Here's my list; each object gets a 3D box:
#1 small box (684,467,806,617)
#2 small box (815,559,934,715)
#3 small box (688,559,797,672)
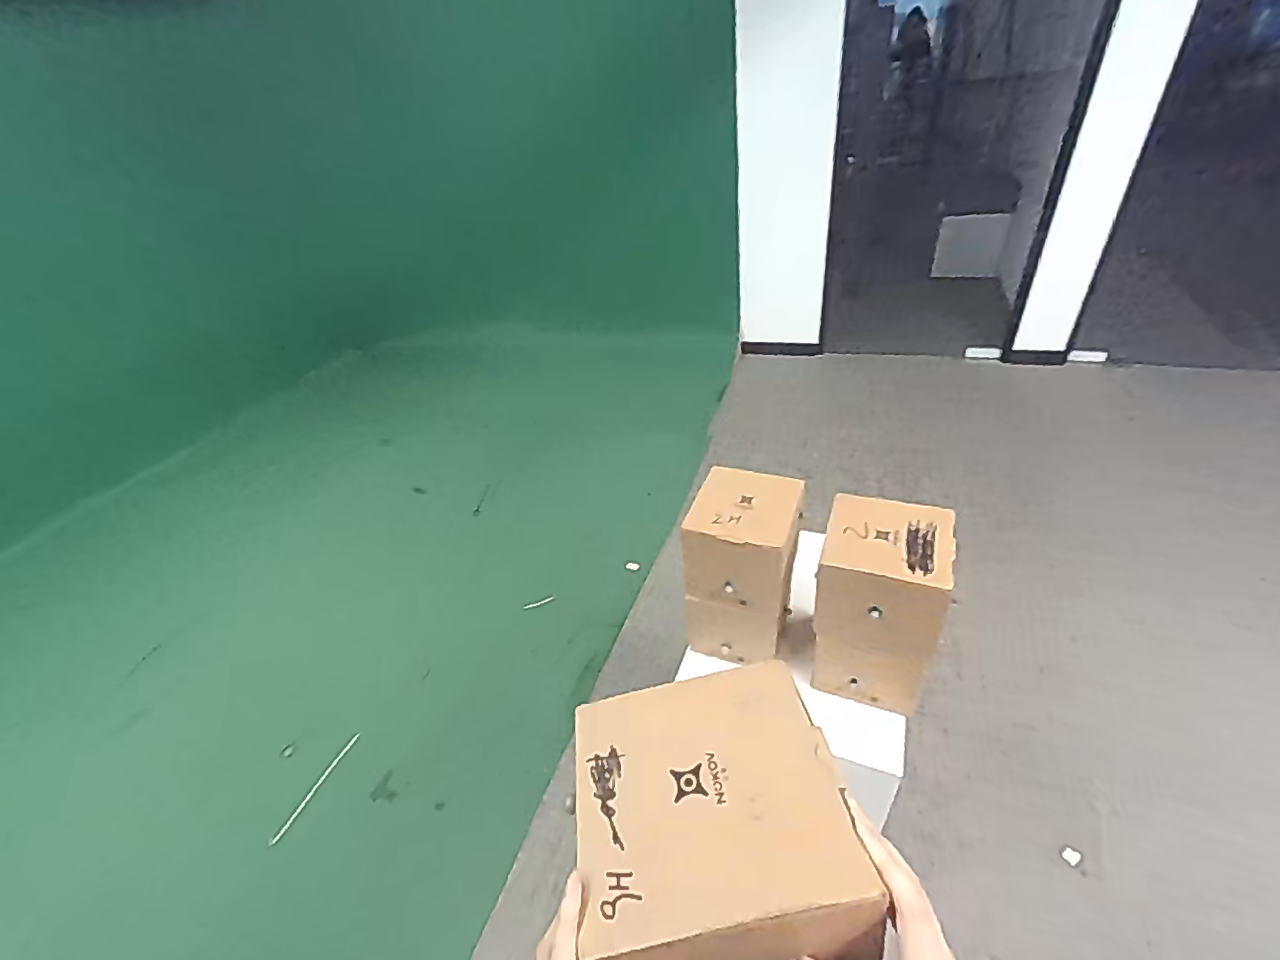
[{"bbox_3d":[0.185,0.104,0.945,0.168,0.176,0.179,11,42,23],"label":"small box"},{"bbox_3d":[0.408,0.273,0.952,0.168,0.176,0.179,9,42,24],"label":"small box"},{"bbox_3d":[0.199,0.234,1.044,0.168,0.176,0.179,10,42,22],"label":"small box"}]
